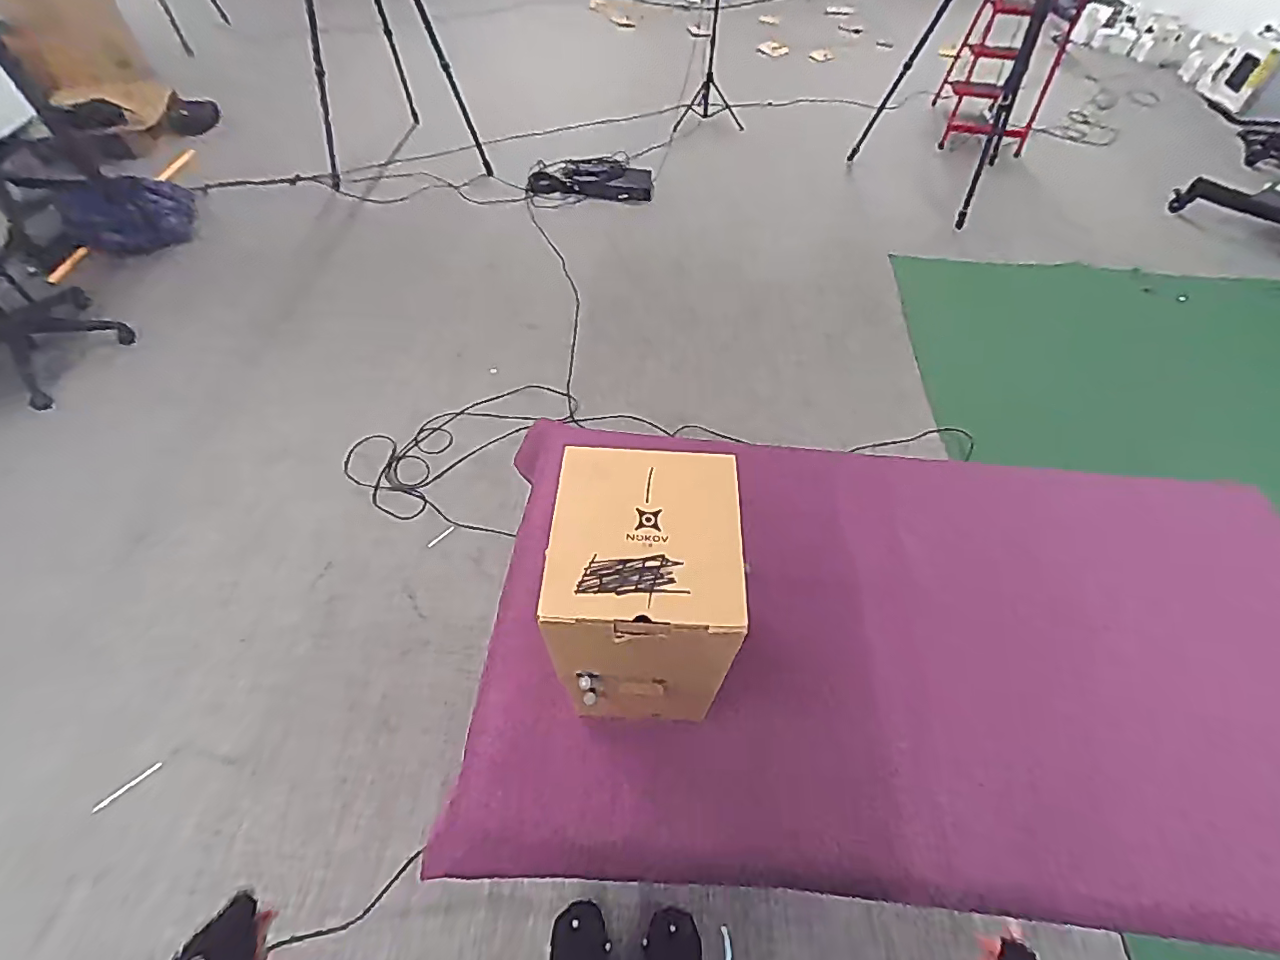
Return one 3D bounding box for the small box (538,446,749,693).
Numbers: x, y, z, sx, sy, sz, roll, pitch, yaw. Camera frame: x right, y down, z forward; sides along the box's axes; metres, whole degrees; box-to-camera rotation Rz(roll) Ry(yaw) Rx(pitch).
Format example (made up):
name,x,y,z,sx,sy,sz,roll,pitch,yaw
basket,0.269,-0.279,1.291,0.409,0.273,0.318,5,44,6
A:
name,x,y,z,sx,sy,sz,roll,pitch,yaw
small box,0.008,0.093,0.523,0.168,0.176,0.179,7,55,1
